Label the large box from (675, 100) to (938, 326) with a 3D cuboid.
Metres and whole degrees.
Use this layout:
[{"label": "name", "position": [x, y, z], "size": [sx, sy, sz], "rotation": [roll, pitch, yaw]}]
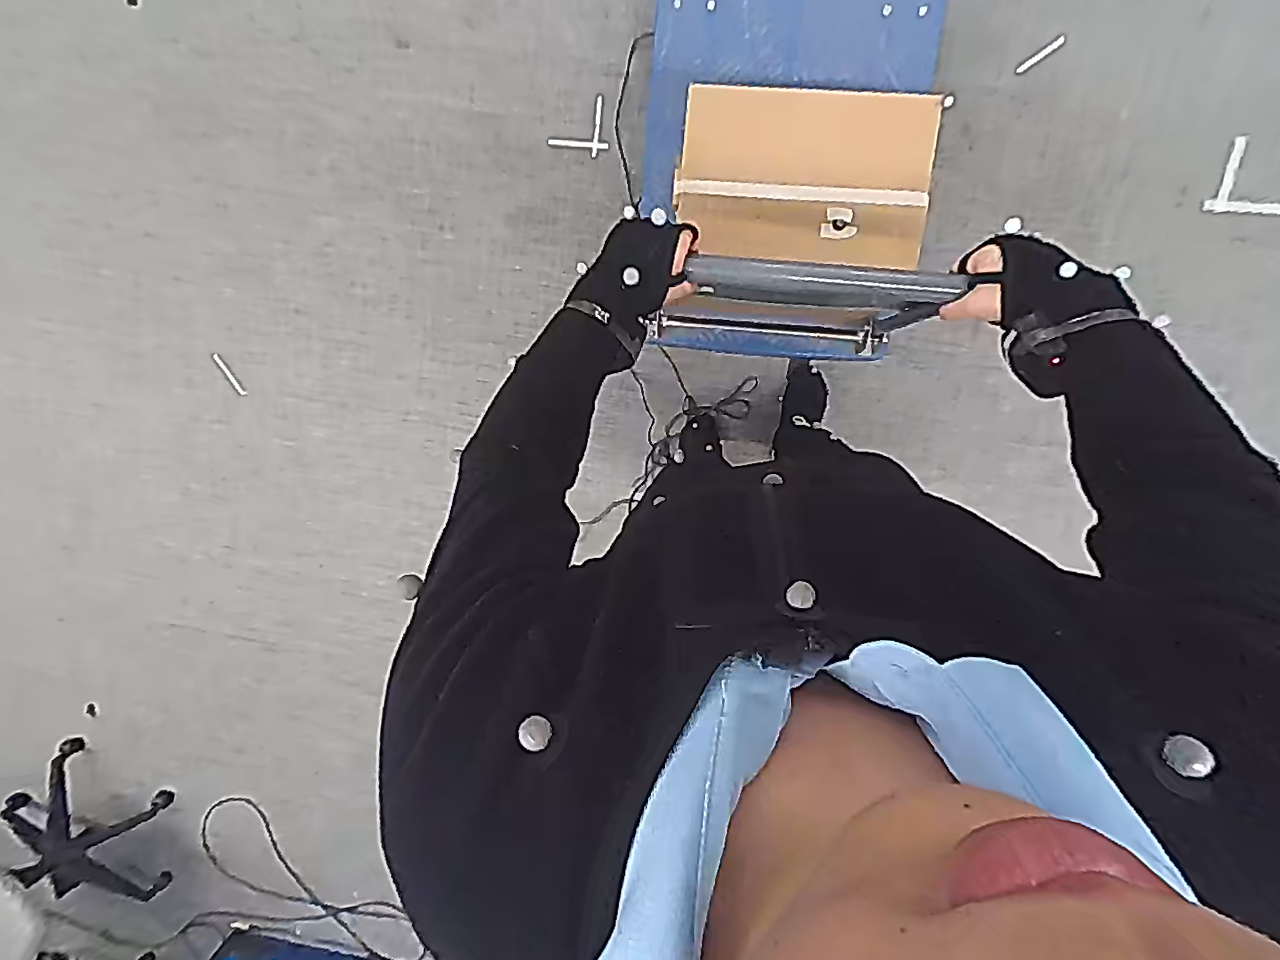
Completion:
[{"label": "large box", "position": [0.277, -0.480, 1.038], "size": [0.408, 0.320, 0.320], "rotation": [5, 101, 4]}]
